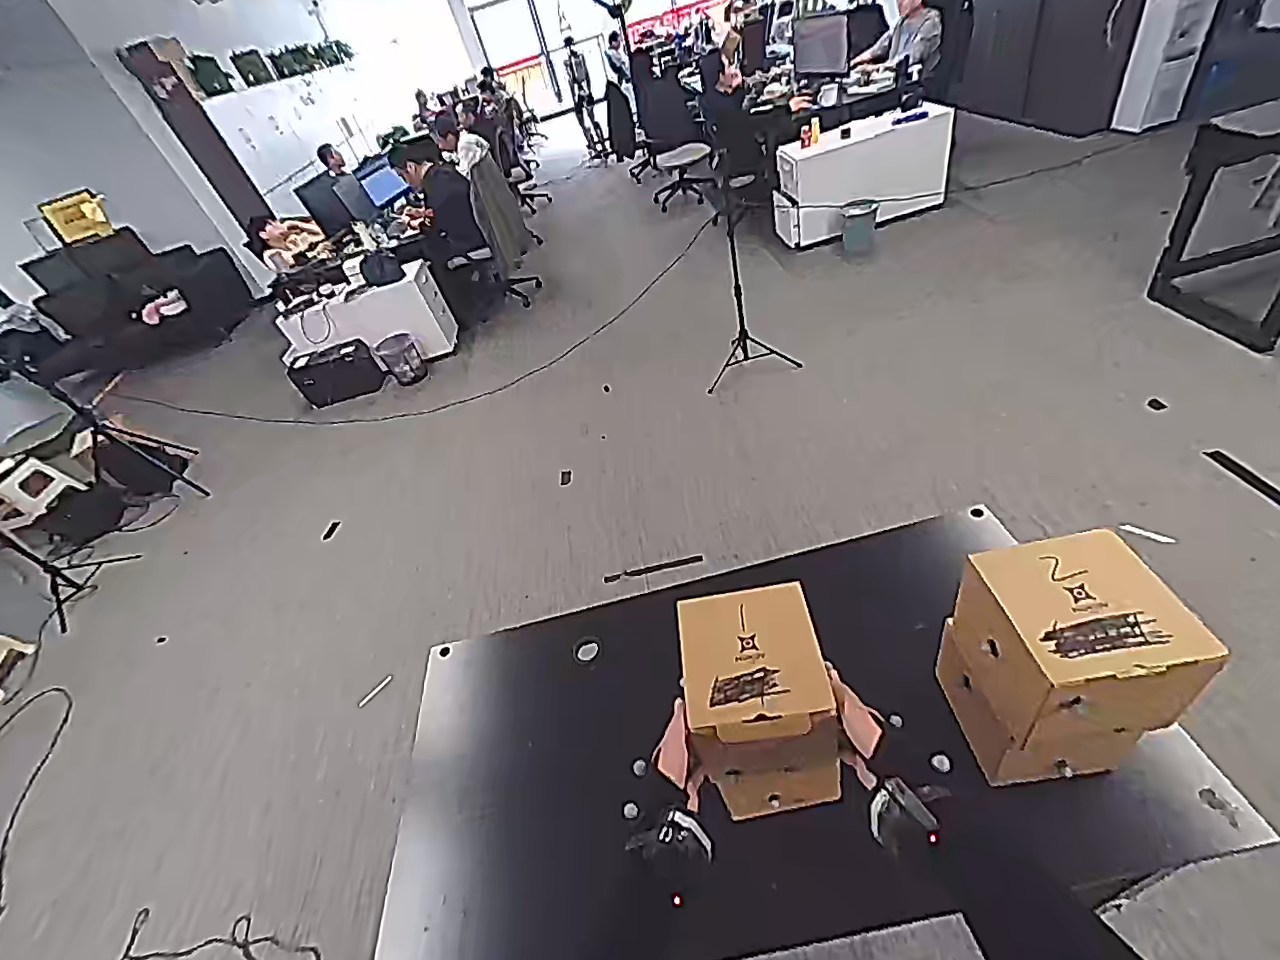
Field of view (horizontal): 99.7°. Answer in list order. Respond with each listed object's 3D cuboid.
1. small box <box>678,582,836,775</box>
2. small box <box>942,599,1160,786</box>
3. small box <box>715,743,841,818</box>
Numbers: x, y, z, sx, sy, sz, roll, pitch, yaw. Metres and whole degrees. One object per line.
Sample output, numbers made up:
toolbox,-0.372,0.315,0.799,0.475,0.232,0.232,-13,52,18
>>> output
small box,0.149,0.262,0.697,0.168,0.176,0.179,-11,41,8
small box,0.546,0.297,0.755,0.168,0.176,0.179,-13,41,8
small box,0.188,0.373,0.812,0.168,0.176,0.179,-15,41,5
